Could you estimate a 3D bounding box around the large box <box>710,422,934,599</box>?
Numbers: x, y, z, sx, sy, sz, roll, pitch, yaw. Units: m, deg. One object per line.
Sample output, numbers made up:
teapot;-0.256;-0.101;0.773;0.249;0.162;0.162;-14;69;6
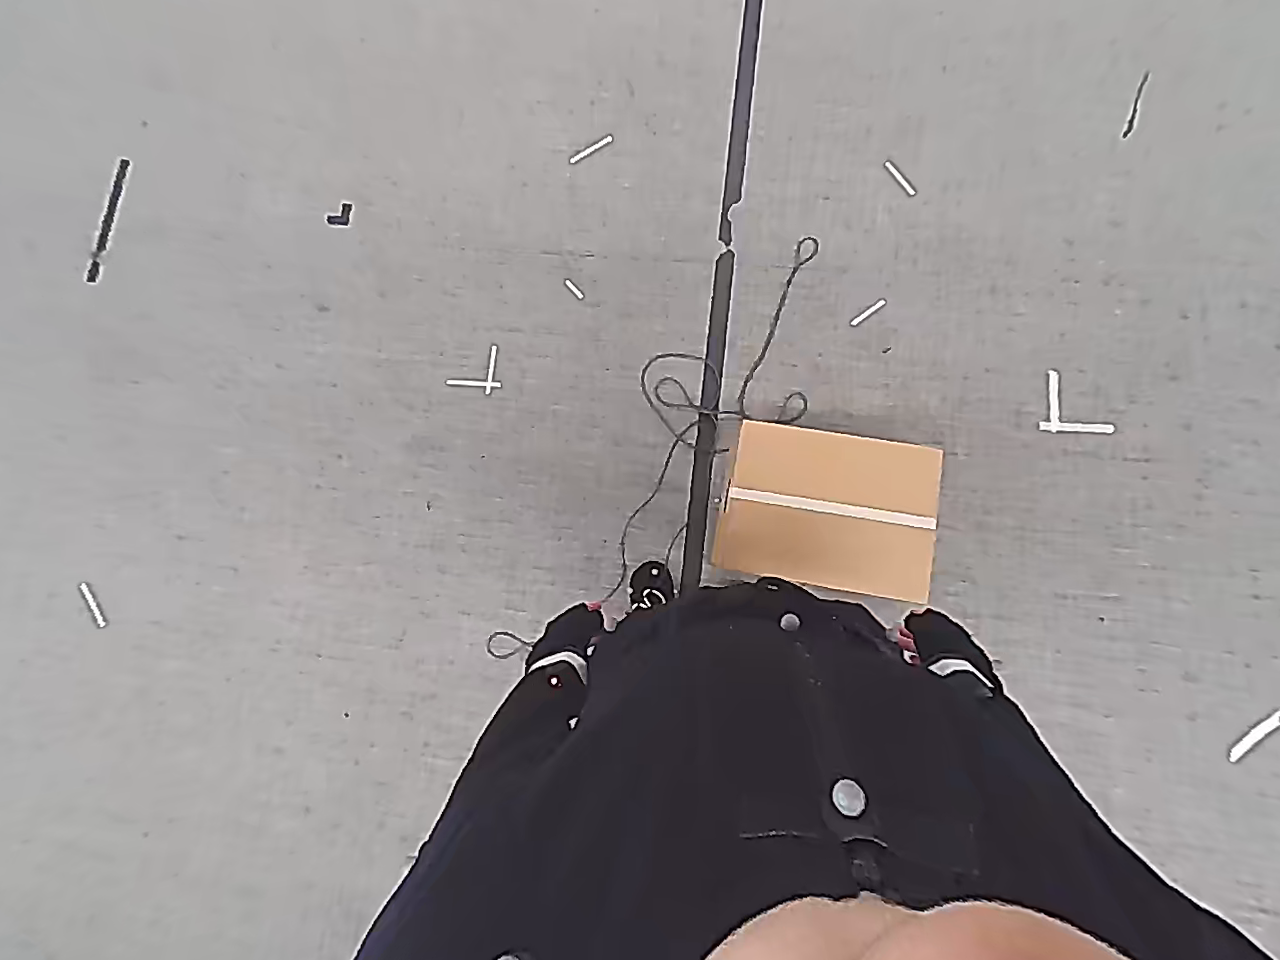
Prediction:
large box;0.386;0.077;1.241;0.408;0.320;0.320;9;83;5
